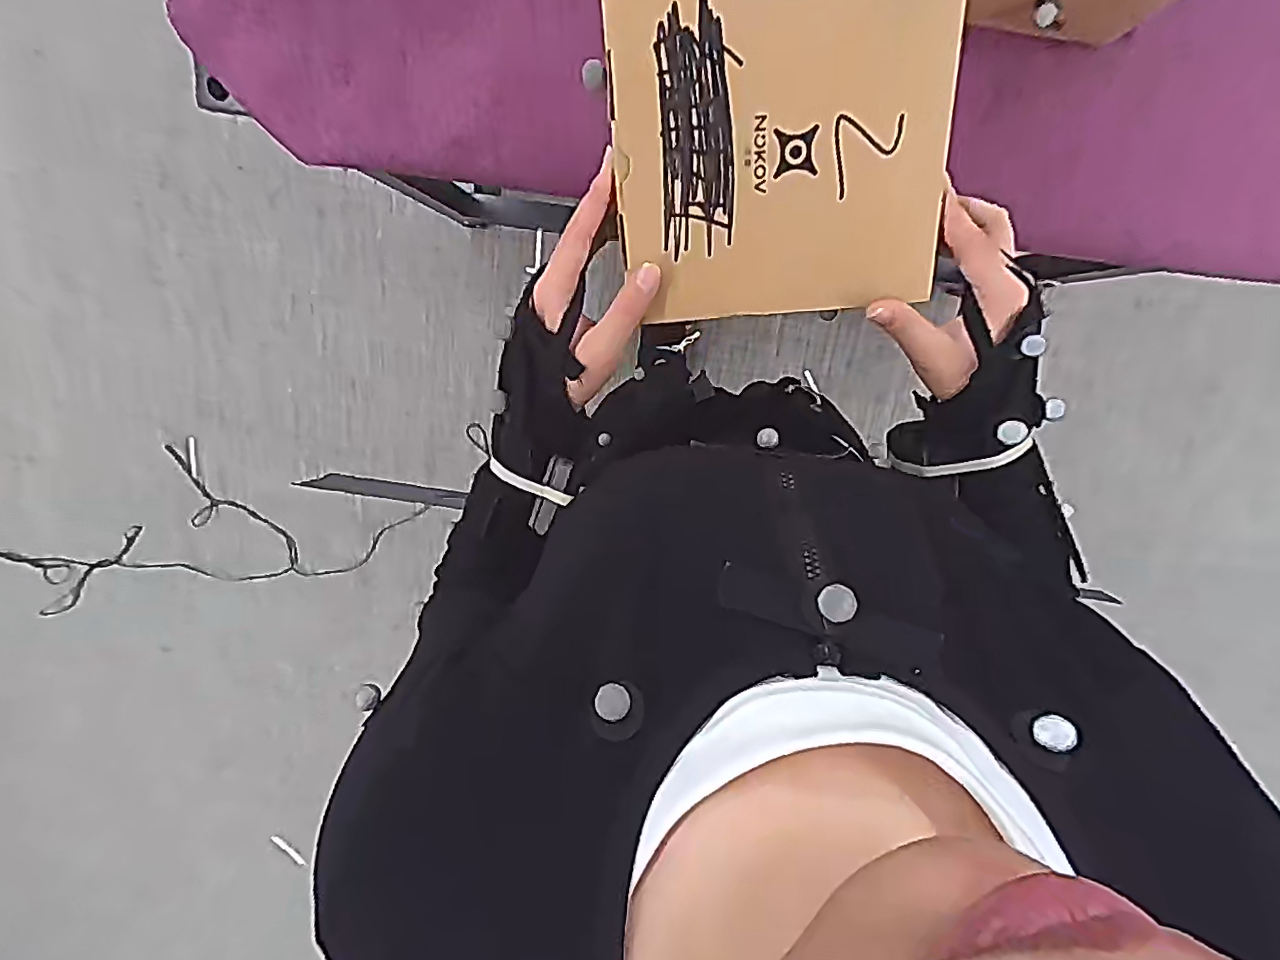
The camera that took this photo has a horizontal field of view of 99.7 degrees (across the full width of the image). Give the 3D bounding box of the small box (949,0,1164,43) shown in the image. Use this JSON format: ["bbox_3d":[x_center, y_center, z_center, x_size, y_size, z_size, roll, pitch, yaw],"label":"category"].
[{"bbox_3d":[0.373,-0.491,0.415,0.168,0.176,0.179,10,106,0],"label":"small box"}]
